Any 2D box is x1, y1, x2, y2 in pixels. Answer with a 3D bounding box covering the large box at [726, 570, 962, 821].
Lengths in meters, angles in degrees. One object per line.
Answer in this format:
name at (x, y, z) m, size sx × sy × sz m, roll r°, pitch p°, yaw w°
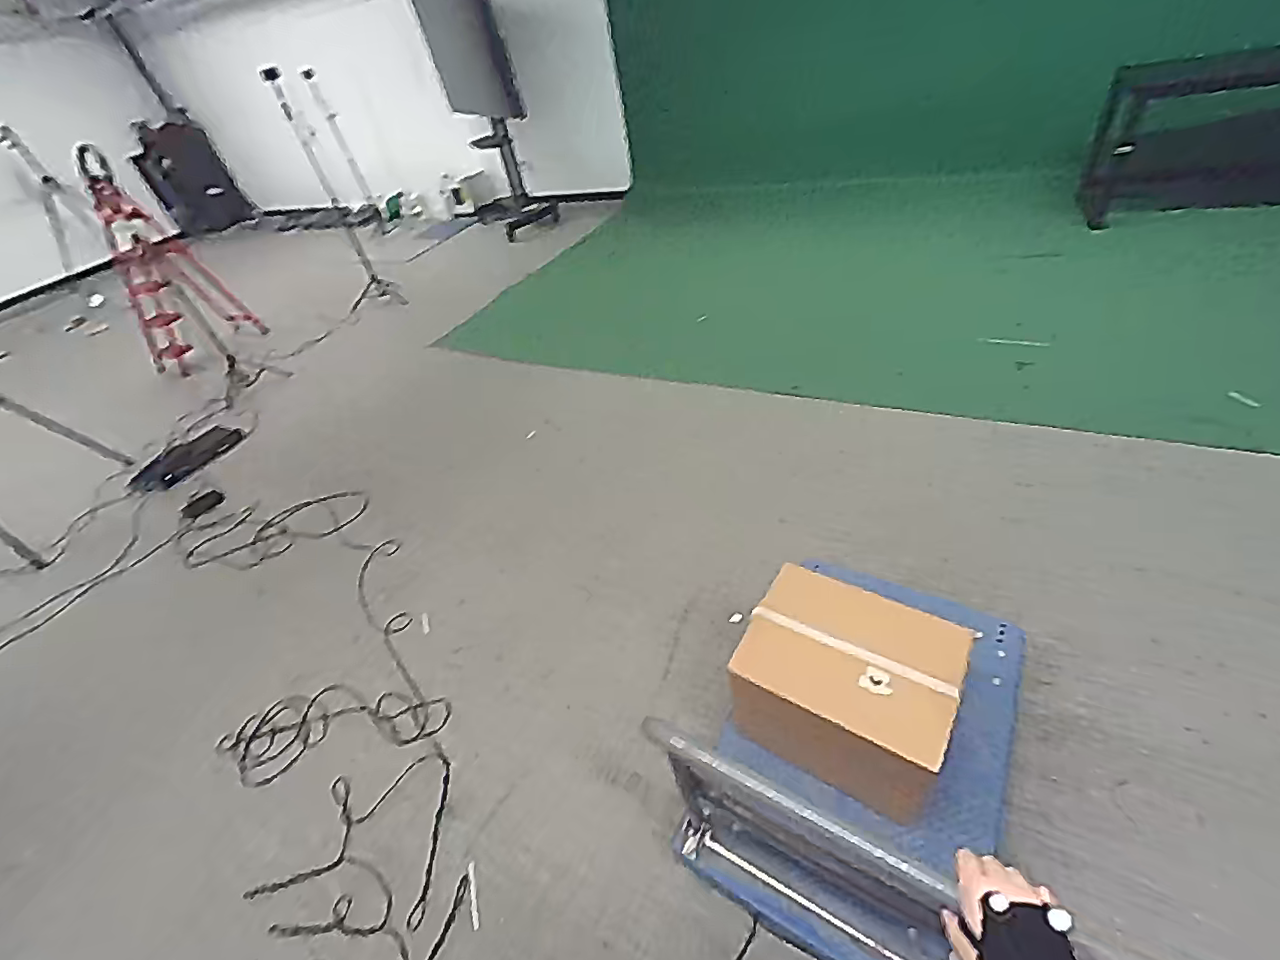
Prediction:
large box at (0.441, 0.470, 1.223) m, size 0.408 × 0.320 × 0.320 m, roll 18°, pitch 50°, yaw 29°
